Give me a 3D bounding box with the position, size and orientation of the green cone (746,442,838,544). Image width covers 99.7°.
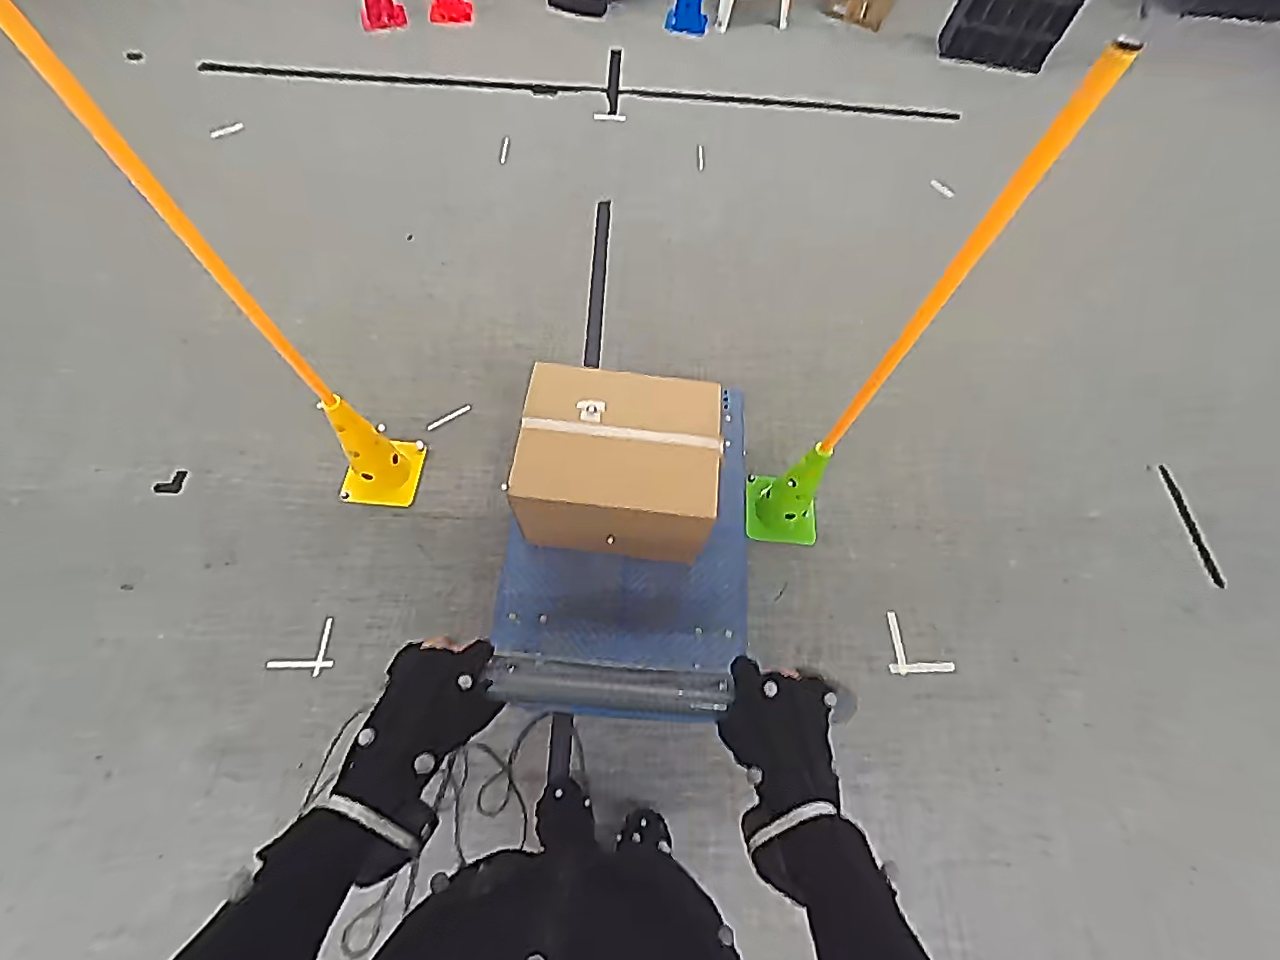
[{"bbox_3d":[0.420,0.009,1.411,0.202,0.368,0.200,7,64,-2],"label":"green cone"}]

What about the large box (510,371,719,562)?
[{"bbox_3d":[-0.045,-0.016,1.232,0.408,0.320,0.320,7,64,0],"label":"large box"}]
